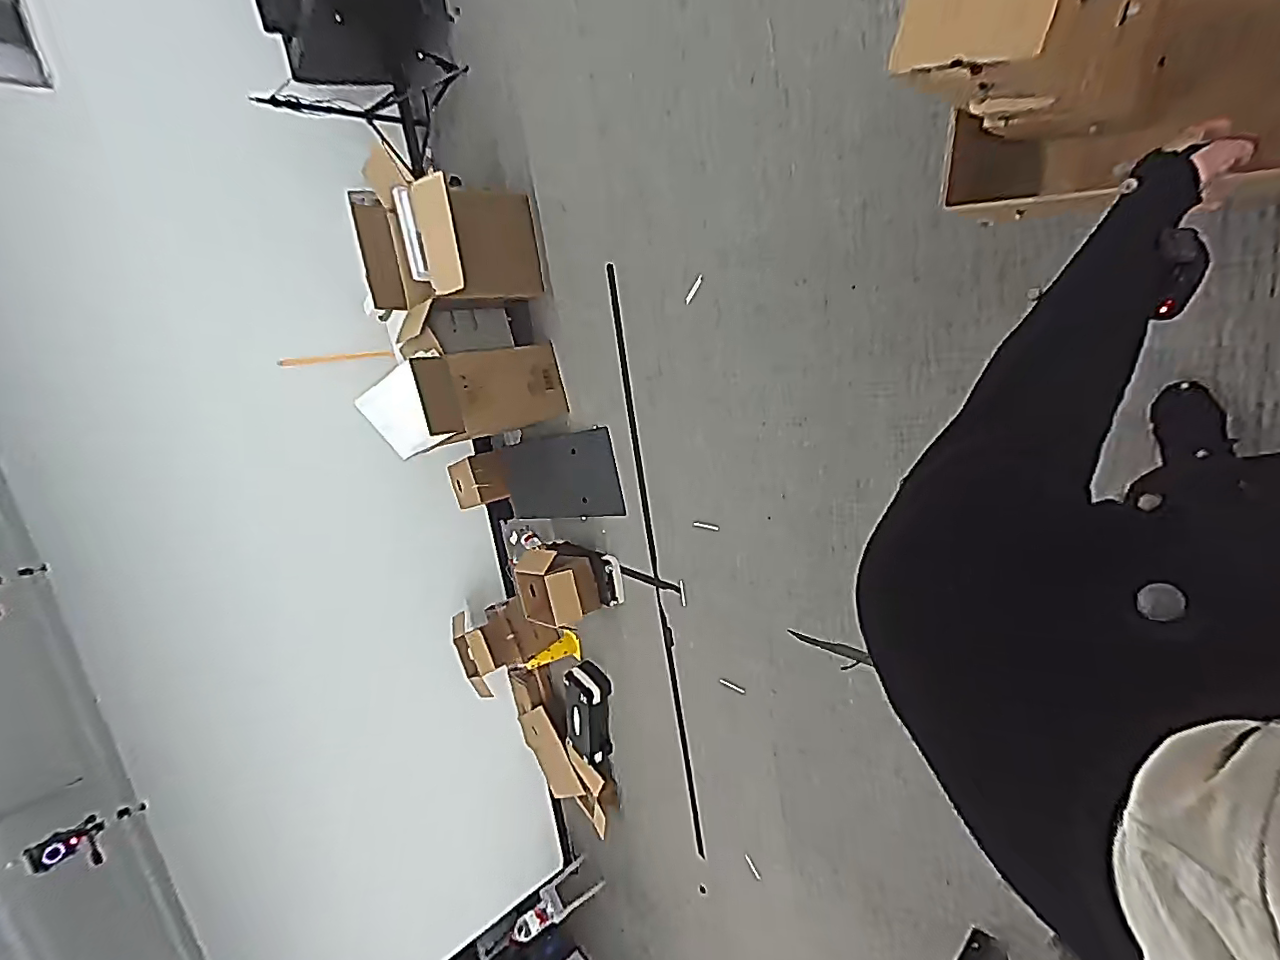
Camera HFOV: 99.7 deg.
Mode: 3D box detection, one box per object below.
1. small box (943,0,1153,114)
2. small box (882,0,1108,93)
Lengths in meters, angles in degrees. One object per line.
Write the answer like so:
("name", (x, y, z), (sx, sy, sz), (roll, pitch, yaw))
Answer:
("small box", (0.533, -0.591, 0.699), (0.168, 0.176, 0.179), (29, 124, 43))
("small box", (0.408, -0.547, 0.601), (0.168, 0.176, 0.179), (33, 128, 40))
